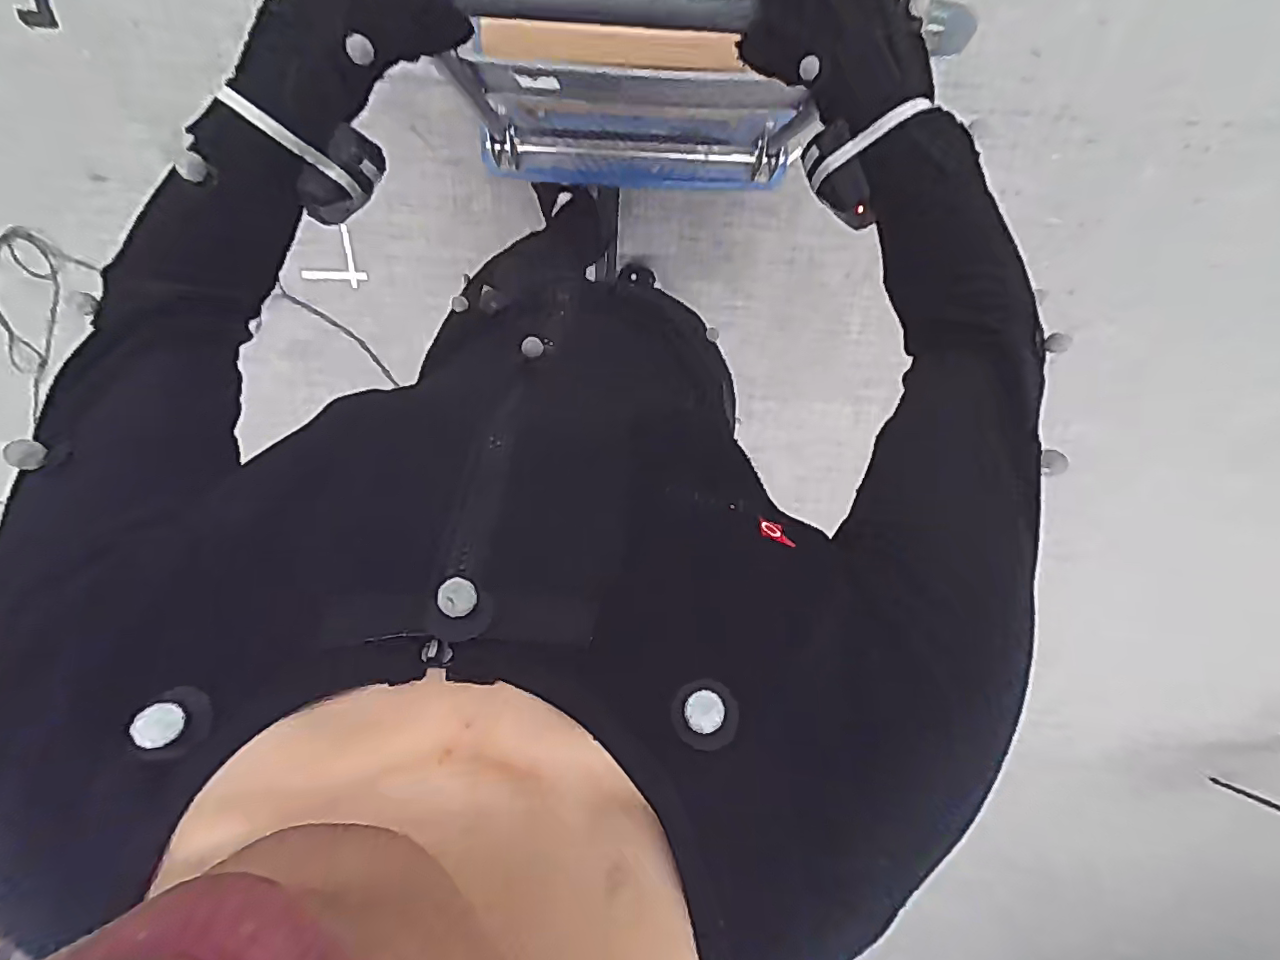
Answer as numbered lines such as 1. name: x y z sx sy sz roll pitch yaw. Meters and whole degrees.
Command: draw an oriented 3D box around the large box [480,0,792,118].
1. large box: -0.011 -0.740 0.783 0.408 0.320 0.320 0 115 -4
